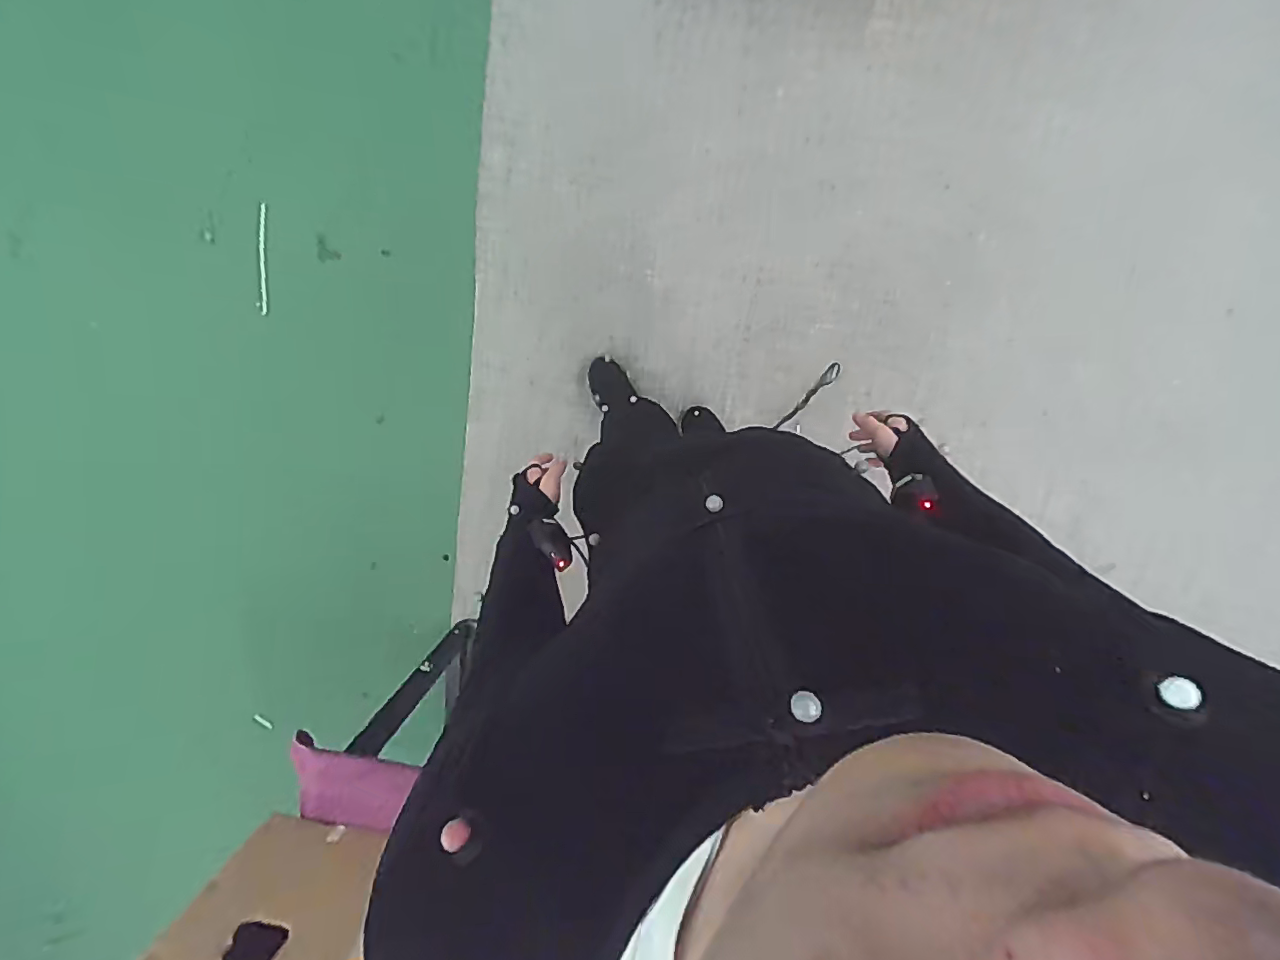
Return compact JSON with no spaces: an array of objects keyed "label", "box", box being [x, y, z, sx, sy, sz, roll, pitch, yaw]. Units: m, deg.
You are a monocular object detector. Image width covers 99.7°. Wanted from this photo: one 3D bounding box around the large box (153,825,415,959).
[{"label":"large box","box":[-0.639,0.950,1.002,0.320,0.320,0.408,8,102,2]}]
